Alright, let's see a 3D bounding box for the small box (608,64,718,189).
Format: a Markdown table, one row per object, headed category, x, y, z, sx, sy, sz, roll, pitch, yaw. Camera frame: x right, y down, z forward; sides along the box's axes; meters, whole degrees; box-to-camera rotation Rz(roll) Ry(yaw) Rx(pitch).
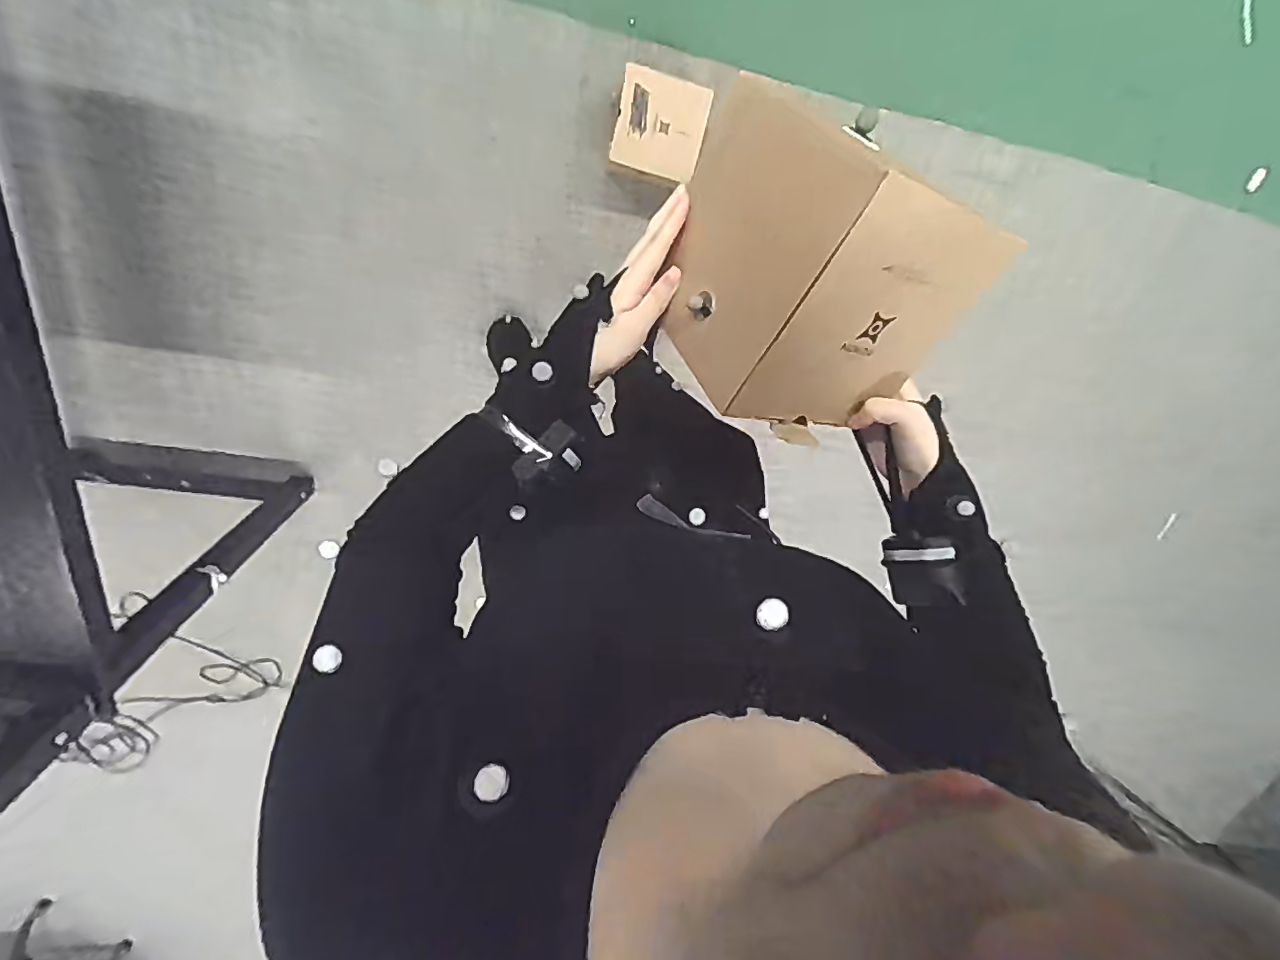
| category | x | y | z | sx | sy | sz | roll | pitch | yaw |
| --- | --- | --- | --- | --- | --- | --- | --- | --- | --- |
| small box | 0.036 | -0.708 | 1.107 | 0.179 | 0.176 | 0.168 | 11 | 114 | -12 |
